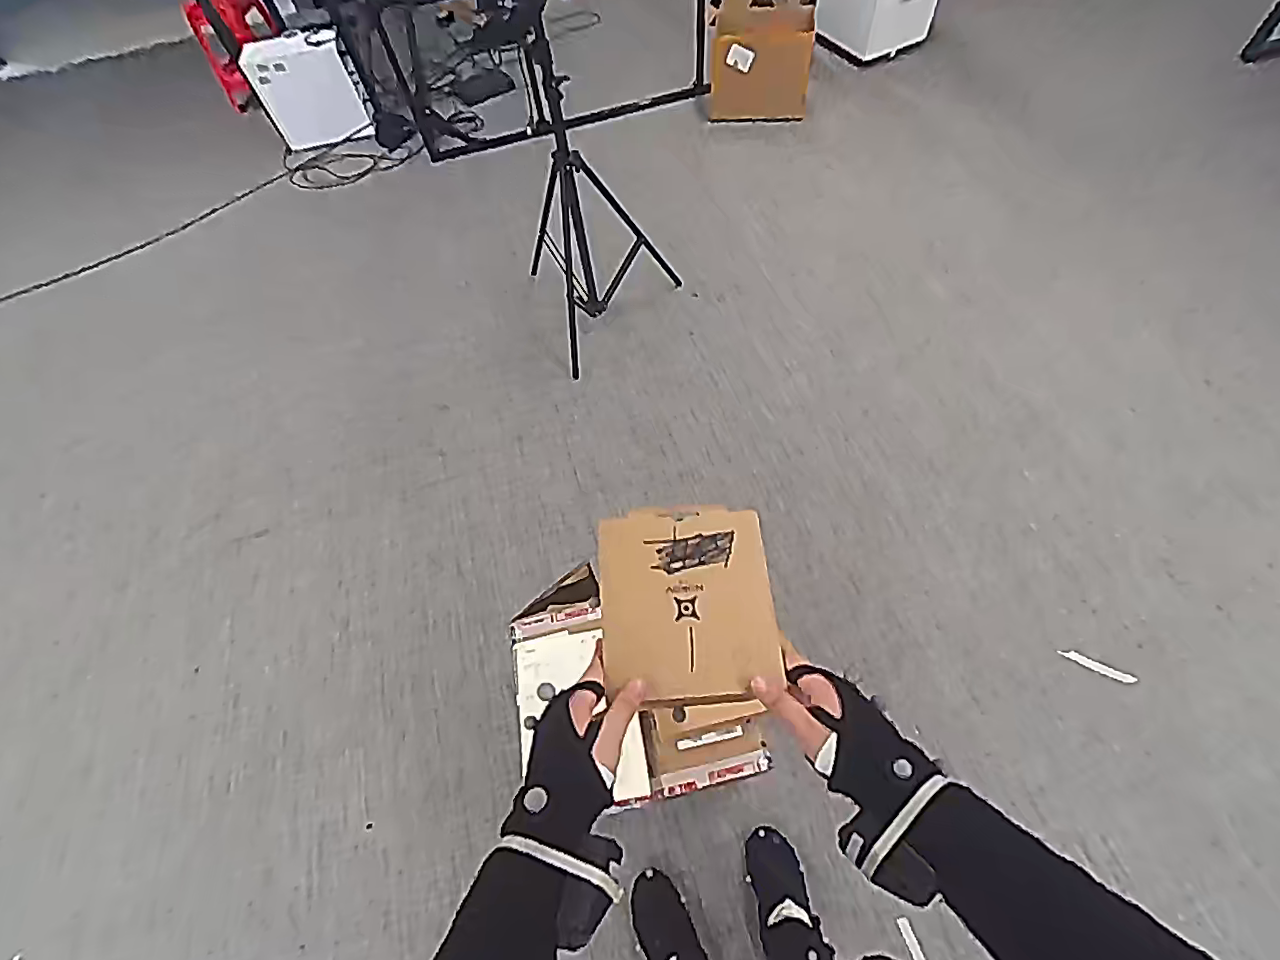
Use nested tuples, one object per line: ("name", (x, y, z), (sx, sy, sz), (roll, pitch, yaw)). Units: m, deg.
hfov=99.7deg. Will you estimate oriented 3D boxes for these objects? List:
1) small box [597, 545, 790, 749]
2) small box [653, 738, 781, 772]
("small box", (0.039, 0.179, 0.565), (0.168, 0.176, 0.179), (-3, 66, -4))
("small box", (0.094, 0.335, 0.827), (0.179, 0.176, 0.168), (-13, 60, -4))
